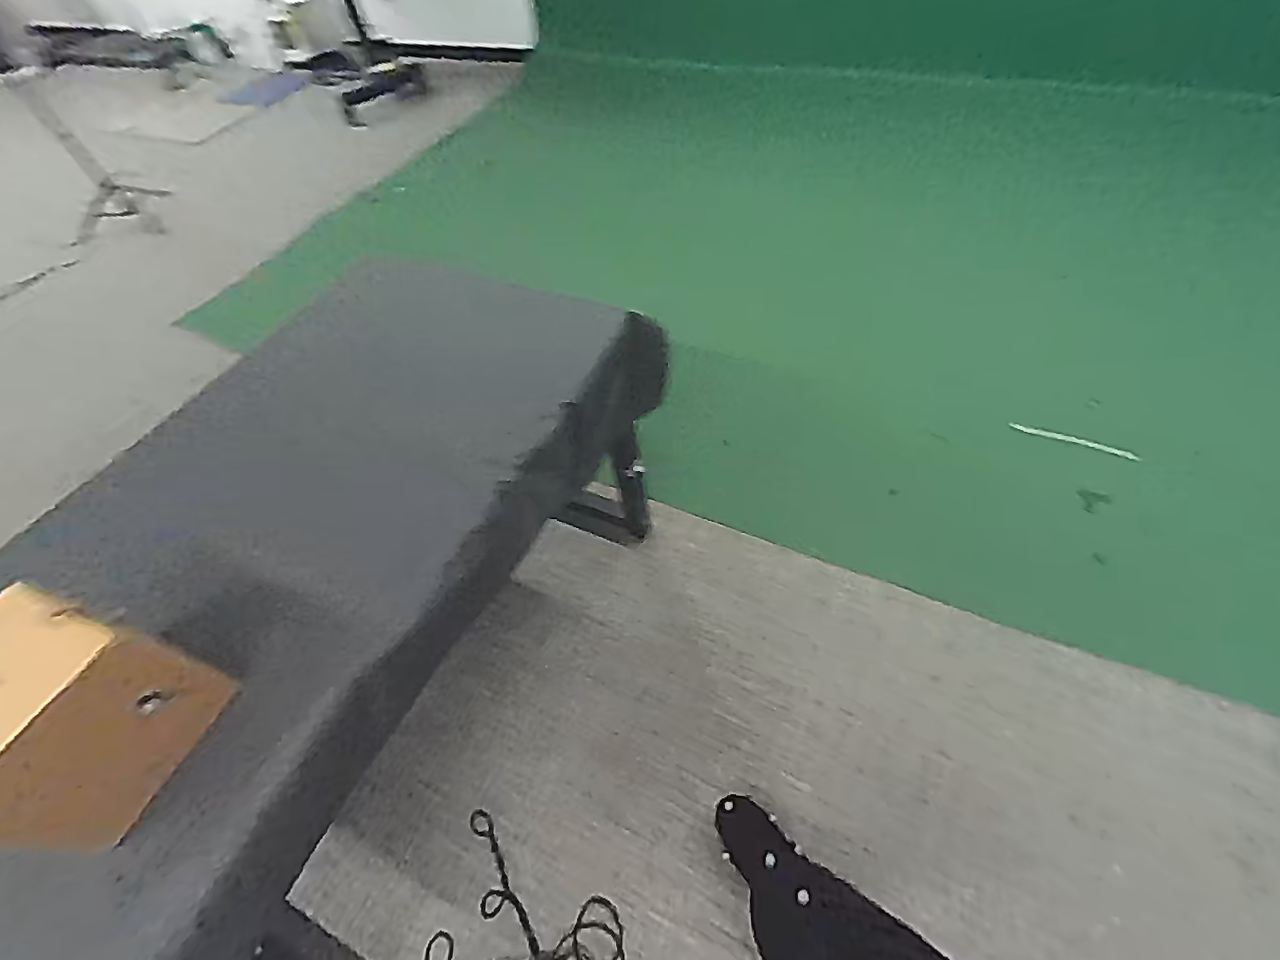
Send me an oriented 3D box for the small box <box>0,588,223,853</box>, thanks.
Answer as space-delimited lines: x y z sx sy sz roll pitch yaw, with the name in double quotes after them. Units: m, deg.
-0.573 0.241 0.540 0.168 0.176 0.179 14 58 18 "small box"
